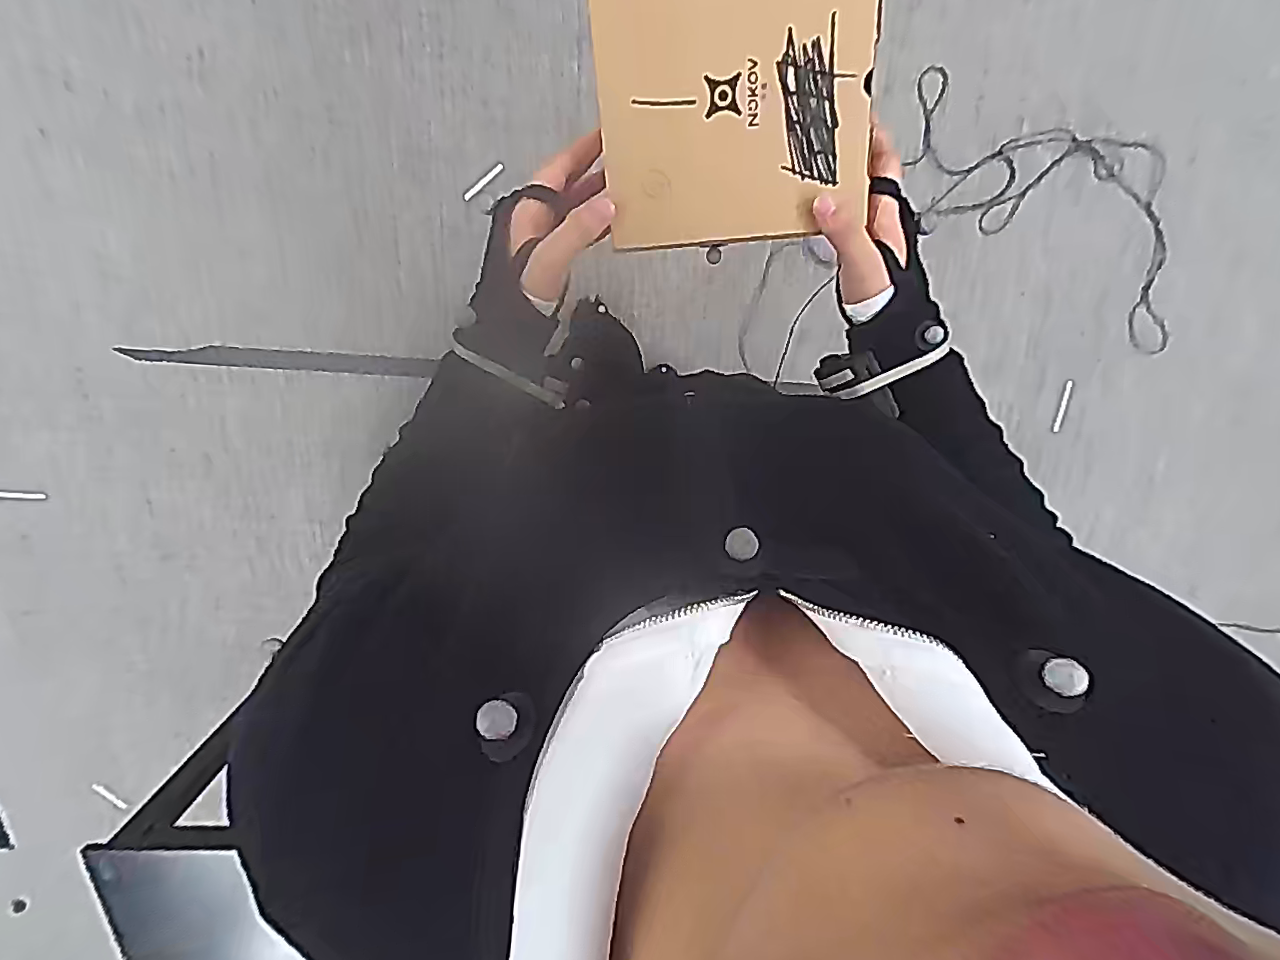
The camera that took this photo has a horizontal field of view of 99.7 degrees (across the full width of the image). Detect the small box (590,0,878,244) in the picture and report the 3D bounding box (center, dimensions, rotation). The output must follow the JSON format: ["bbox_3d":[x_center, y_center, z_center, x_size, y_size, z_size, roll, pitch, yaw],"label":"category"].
[{"bbox_3d":[0.060,-0.277,0.415,0.179,0.176,0.168,-4,112,2],"label":"small box"}]
